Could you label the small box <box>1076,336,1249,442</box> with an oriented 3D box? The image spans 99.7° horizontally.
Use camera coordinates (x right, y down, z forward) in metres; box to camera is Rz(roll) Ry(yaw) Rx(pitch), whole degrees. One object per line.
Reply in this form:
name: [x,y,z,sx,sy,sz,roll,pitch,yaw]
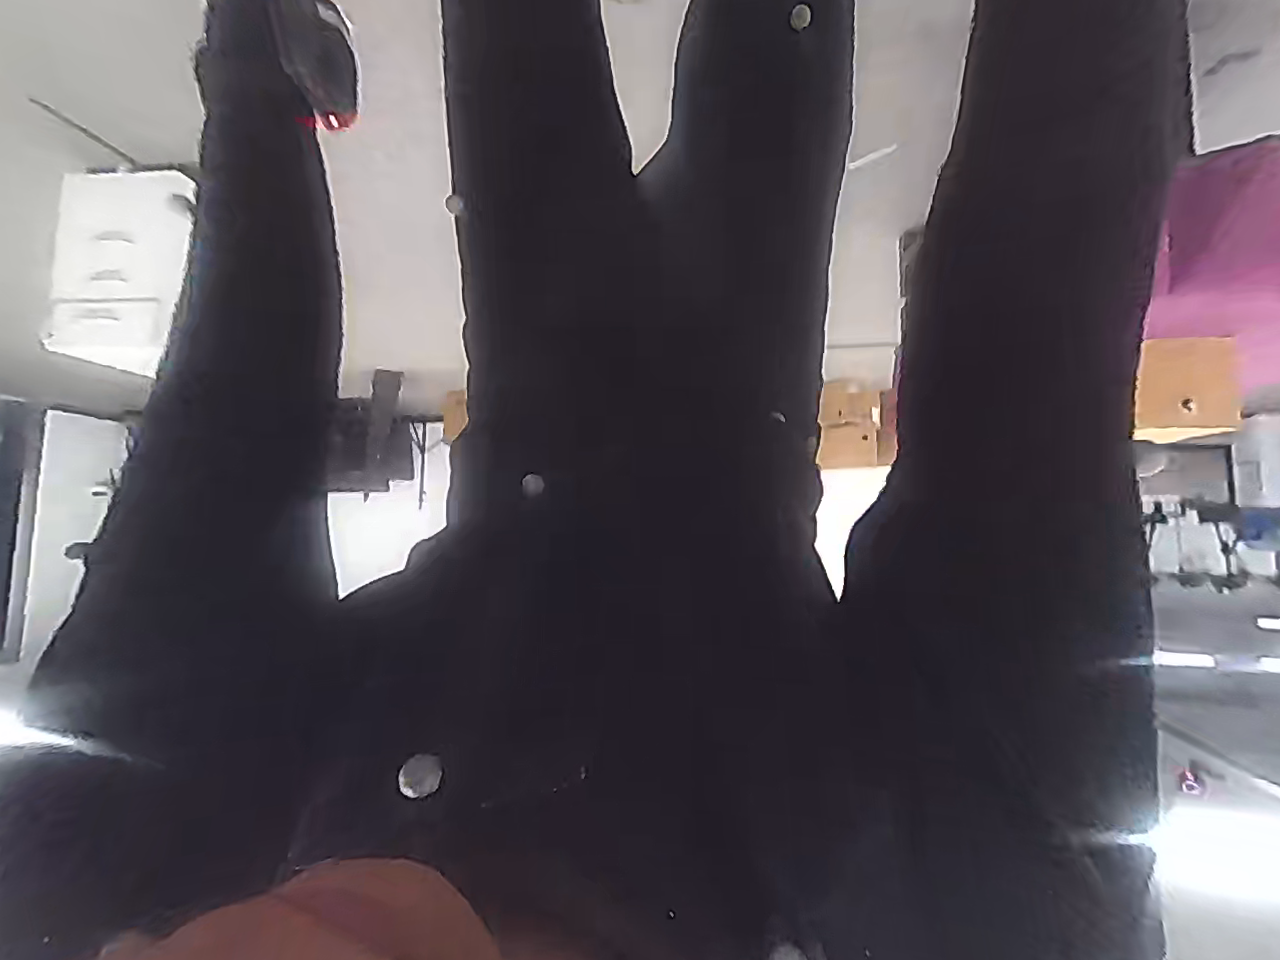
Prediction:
small box: [0.965,-0.165,1.013,0.179,0.176,0.168,1,176,8]
